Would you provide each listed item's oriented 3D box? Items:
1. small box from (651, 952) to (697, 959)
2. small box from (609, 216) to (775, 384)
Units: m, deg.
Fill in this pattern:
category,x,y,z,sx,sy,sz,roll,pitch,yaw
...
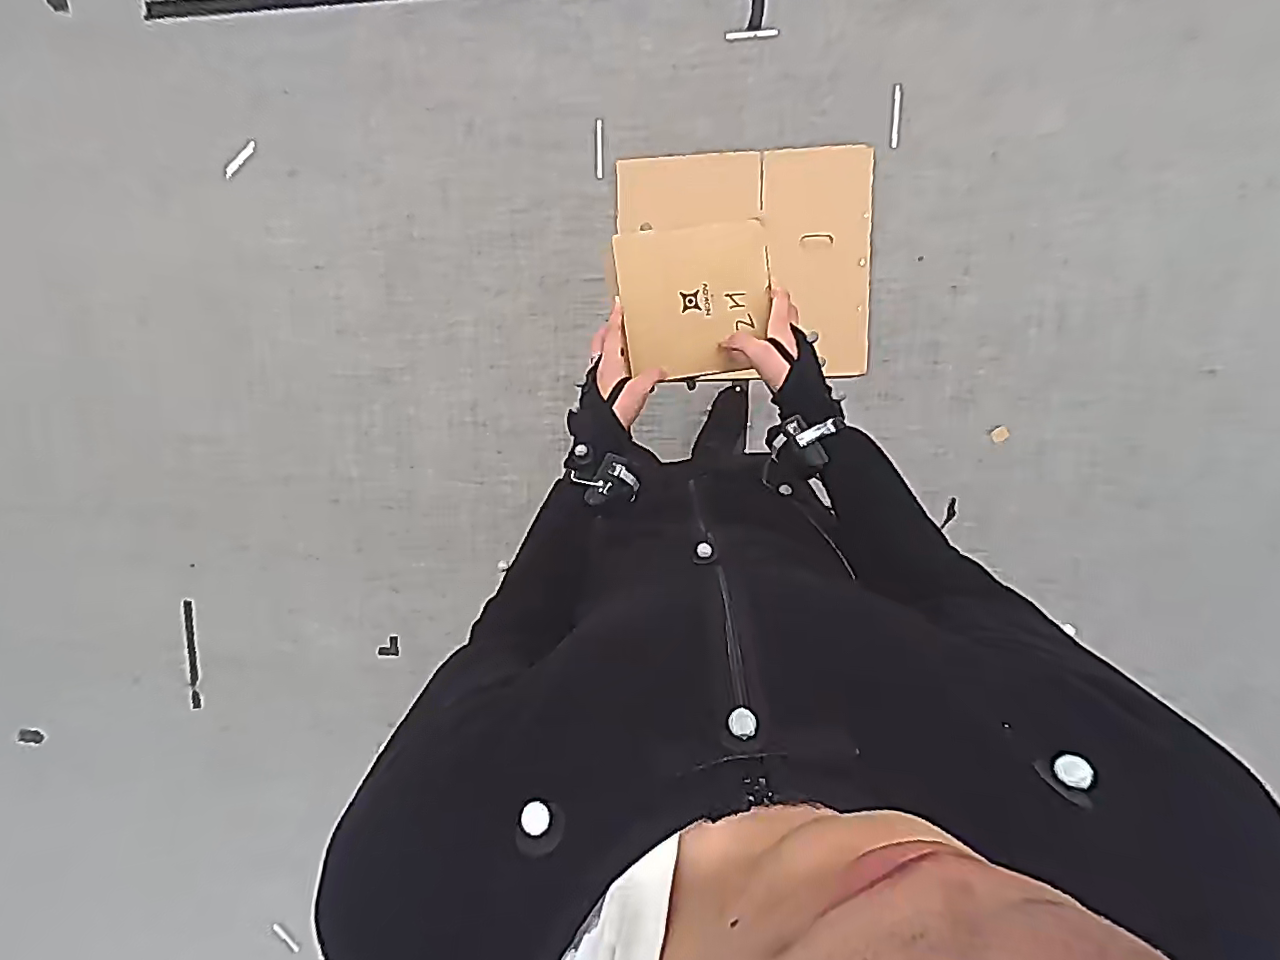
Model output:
category,x,y,z,sx,sy,sz,roll,pitch,yaw
small box,0.117,1.726,1.801,0.168,0.176,0.179,-2,98,6
small box,0.055,-0.216,0.689,0.179,0.176,0.168,-9,100,-5
